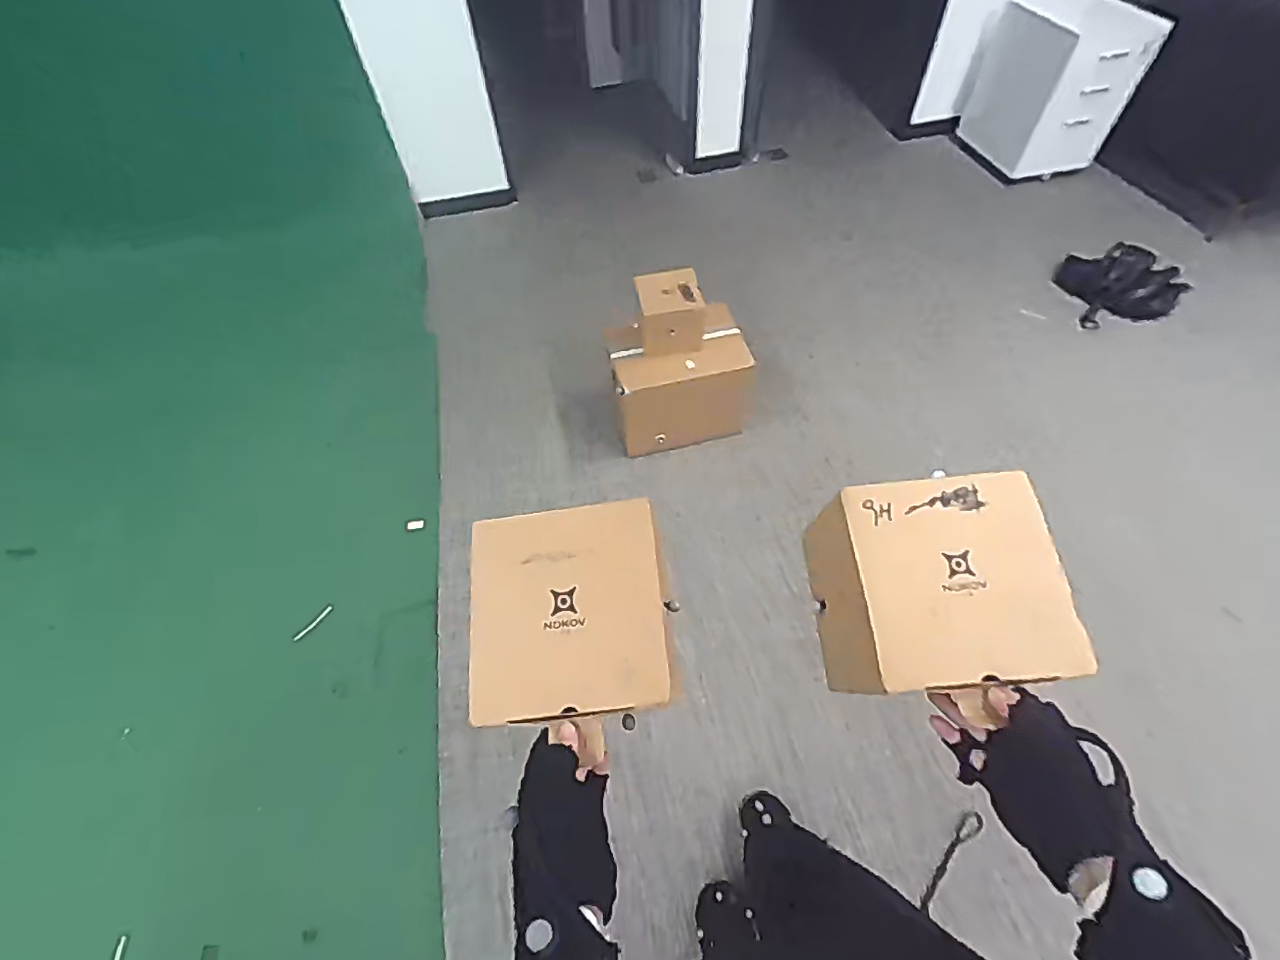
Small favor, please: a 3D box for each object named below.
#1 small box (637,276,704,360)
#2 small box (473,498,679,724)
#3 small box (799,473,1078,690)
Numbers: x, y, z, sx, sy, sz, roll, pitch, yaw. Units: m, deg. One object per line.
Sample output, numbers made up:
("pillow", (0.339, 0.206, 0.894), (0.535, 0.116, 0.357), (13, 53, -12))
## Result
("small box", (0.084, -0.473, 1.589), (0.179, 0.176, 0.168), (-6, 58, -2))
("small box", (-0.055, 0.137, 0.539), (0.168, 0.176, 0.179), (-9, 66, 3))
("small box", (0.269, 0.108, 0.537), (0.168, 0.176, 0.179), (-5, 69, 1))
